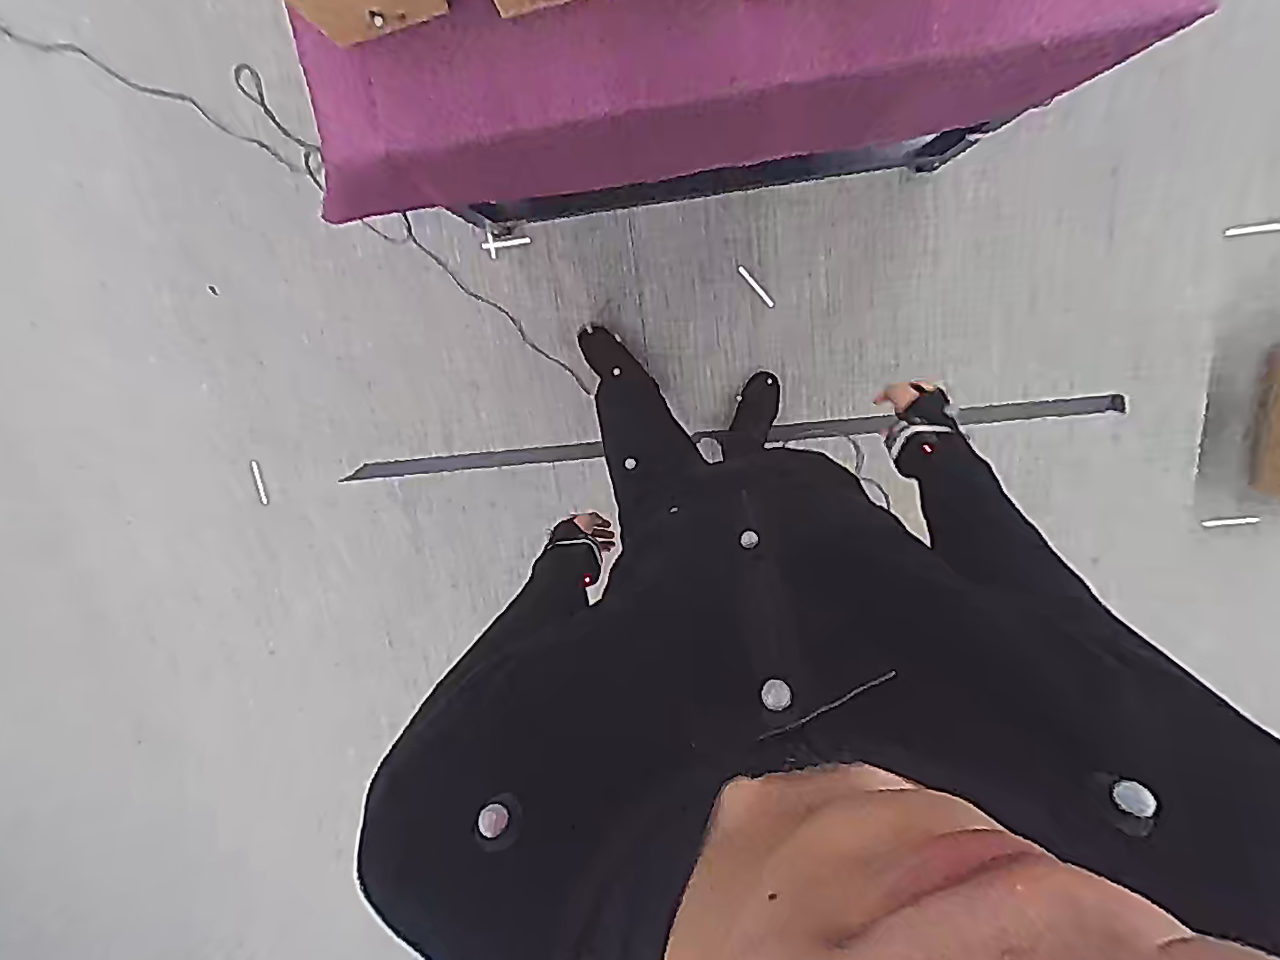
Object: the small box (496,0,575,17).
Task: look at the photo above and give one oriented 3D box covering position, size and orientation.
[{"bbox_3d":[-0.130,-0.696,0.622,0.168,0.176,0.179,-10,104,6],"label":"small box"}]
